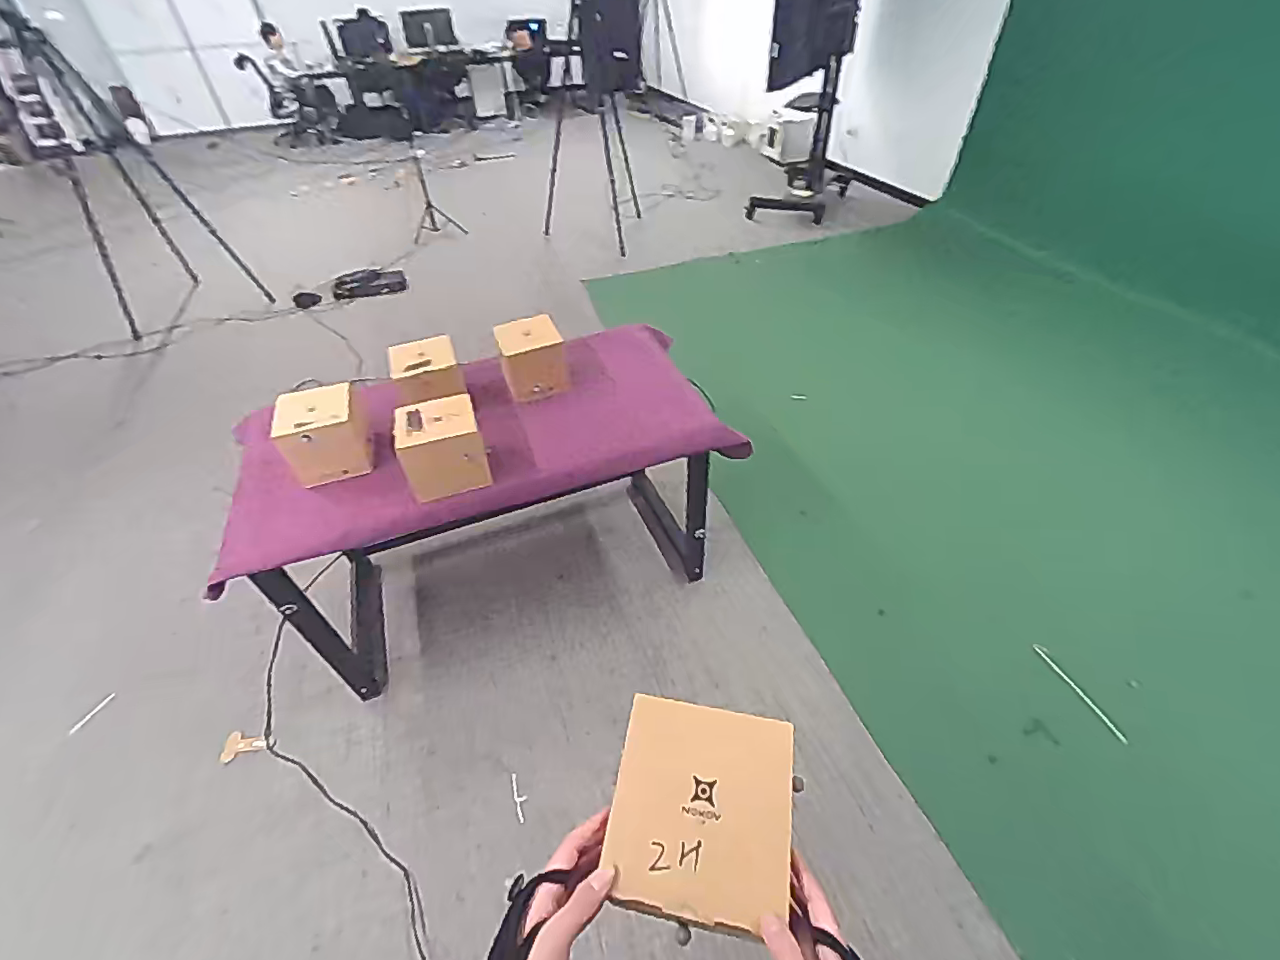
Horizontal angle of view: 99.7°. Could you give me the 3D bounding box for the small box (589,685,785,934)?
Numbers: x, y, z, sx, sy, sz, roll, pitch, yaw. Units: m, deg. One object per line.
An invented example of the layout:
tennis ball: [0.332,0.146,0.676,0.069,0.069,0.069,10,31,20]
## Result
small box: [0.054,0.345,0.568,0.168,0.176,0.179,7,50,10]

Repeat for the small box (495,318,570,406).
small box: [-0.311,-0.342,1.573,0.168,0.176,0.179,-18,47,-14]

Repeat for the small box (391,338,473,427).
small box: [-0.577,-0.266,1.506,0.168,0.176,0.179,-17,45,-14]

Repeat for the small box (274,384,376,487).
small box: [-0.776,-0.111,1.352,0.168,0.176,0.179,-17,45,-12]
